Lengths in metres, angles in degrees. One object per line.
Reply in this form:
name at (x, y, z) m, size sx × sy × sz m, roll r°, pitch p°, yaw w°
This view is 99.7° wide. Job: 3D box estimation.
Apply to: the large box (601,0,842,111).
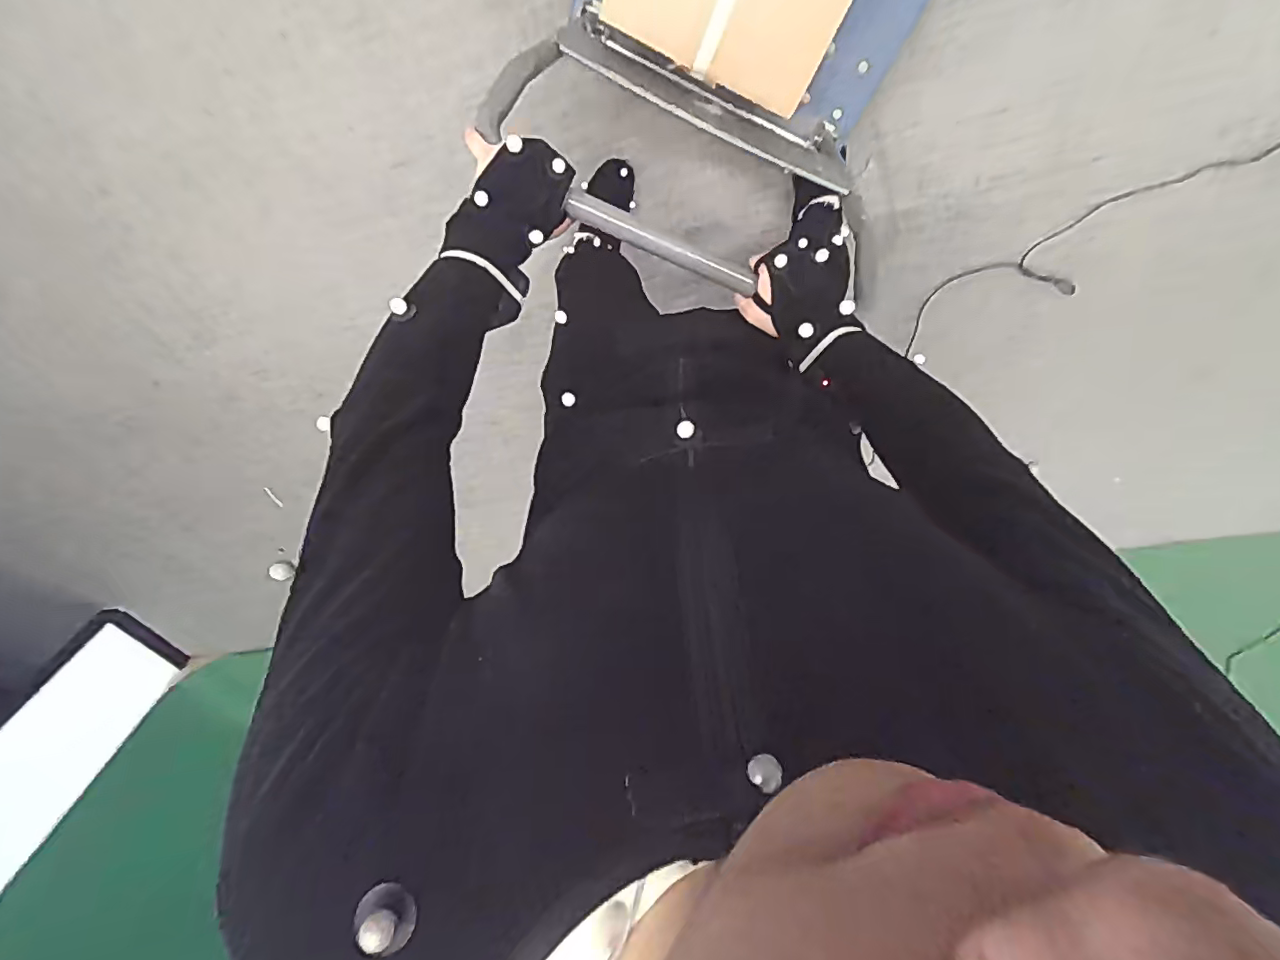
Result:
large box at (0.170, -0.840, 0.783) m, size 0.320 × 0.320 × 0.408 m, roll 21°, pitch 131°, yaw -11°
